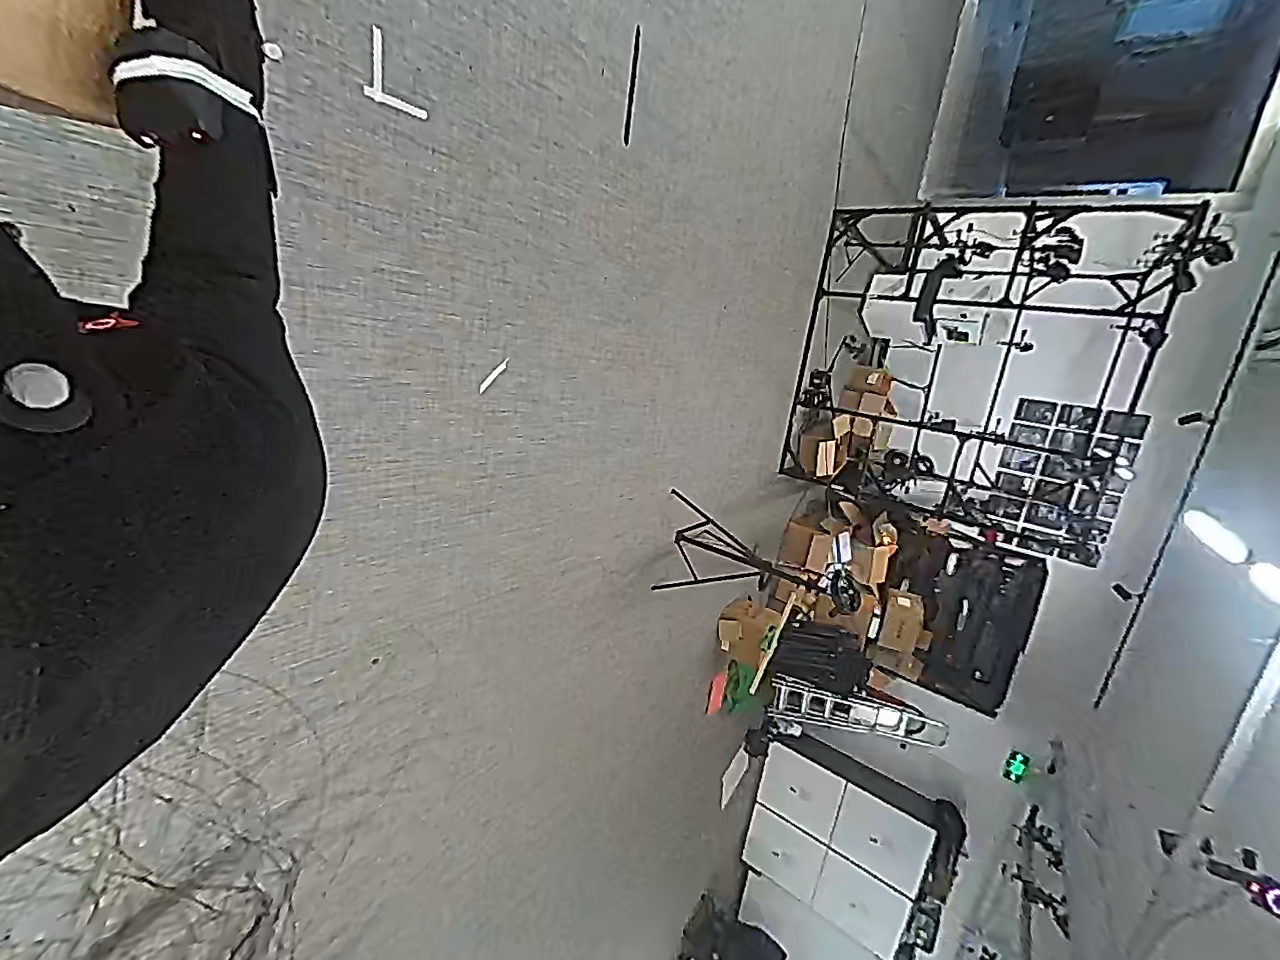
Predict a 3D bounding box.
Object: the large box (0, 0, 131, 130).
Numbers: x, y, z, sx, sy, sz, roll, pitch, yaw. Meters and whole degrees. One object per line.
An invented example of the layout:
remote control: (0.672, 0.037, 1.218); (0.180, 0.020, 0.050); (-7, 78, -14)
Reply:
large box: (-0.585, -0.454, 0.285); (0.408, 0.320, 0.320); (-7, 119, -60)
